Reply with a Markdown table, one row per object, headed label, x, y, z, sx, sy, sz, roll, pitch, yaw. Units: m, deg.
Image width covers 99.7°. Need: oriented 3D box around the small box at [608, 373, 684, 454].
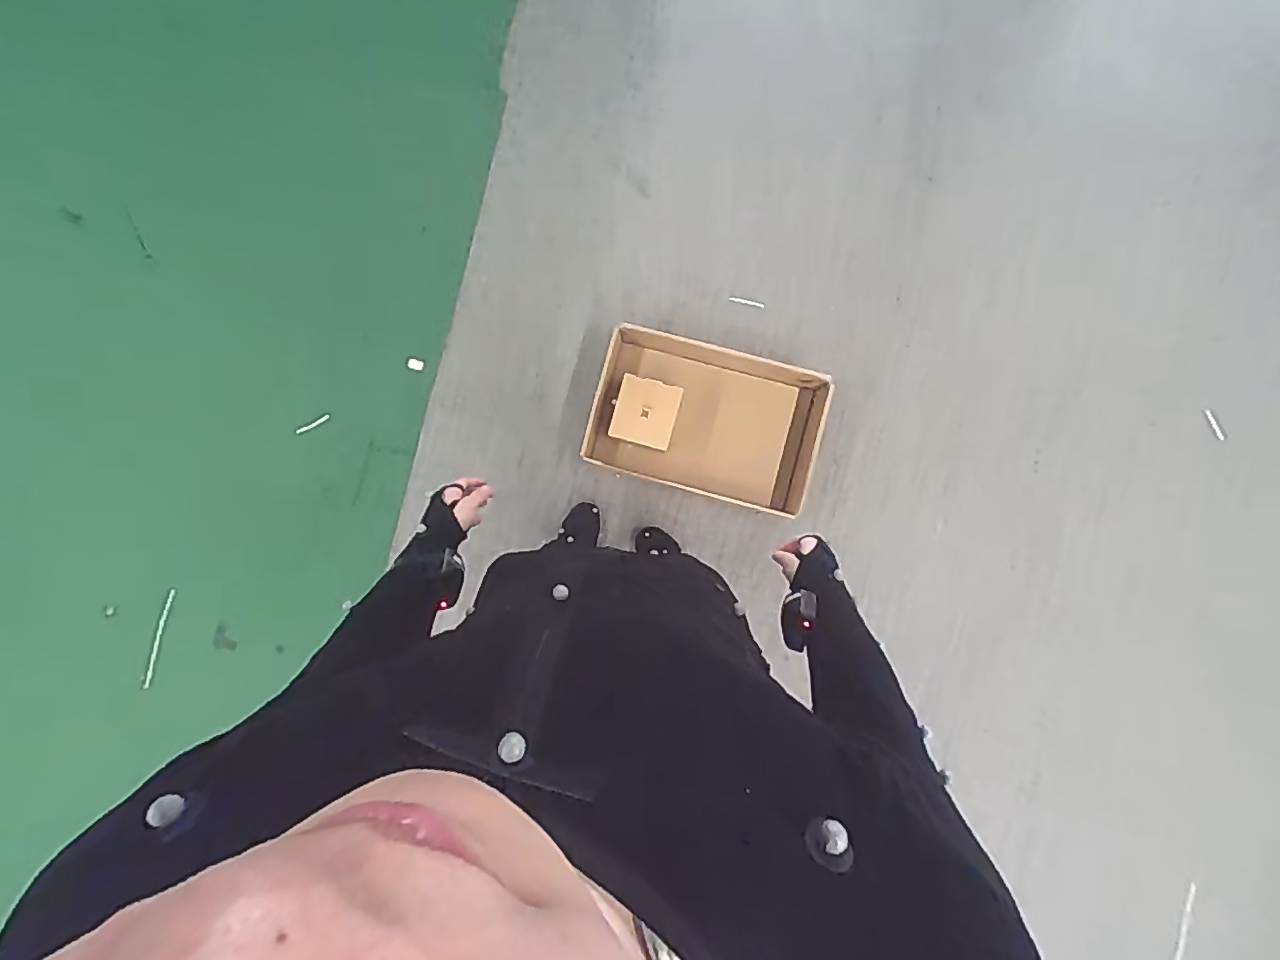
| label | x | y | z | sx | sy | sz | roll | pitch | yaw |
| --- | --- | --- | --- | --- | --- | --- | --- | --- | --- |
| small box | 0.020 | -0.178 | 1.510 | 0.168 | 0.176 | 0.179 | 16 | 88 | 2 |
